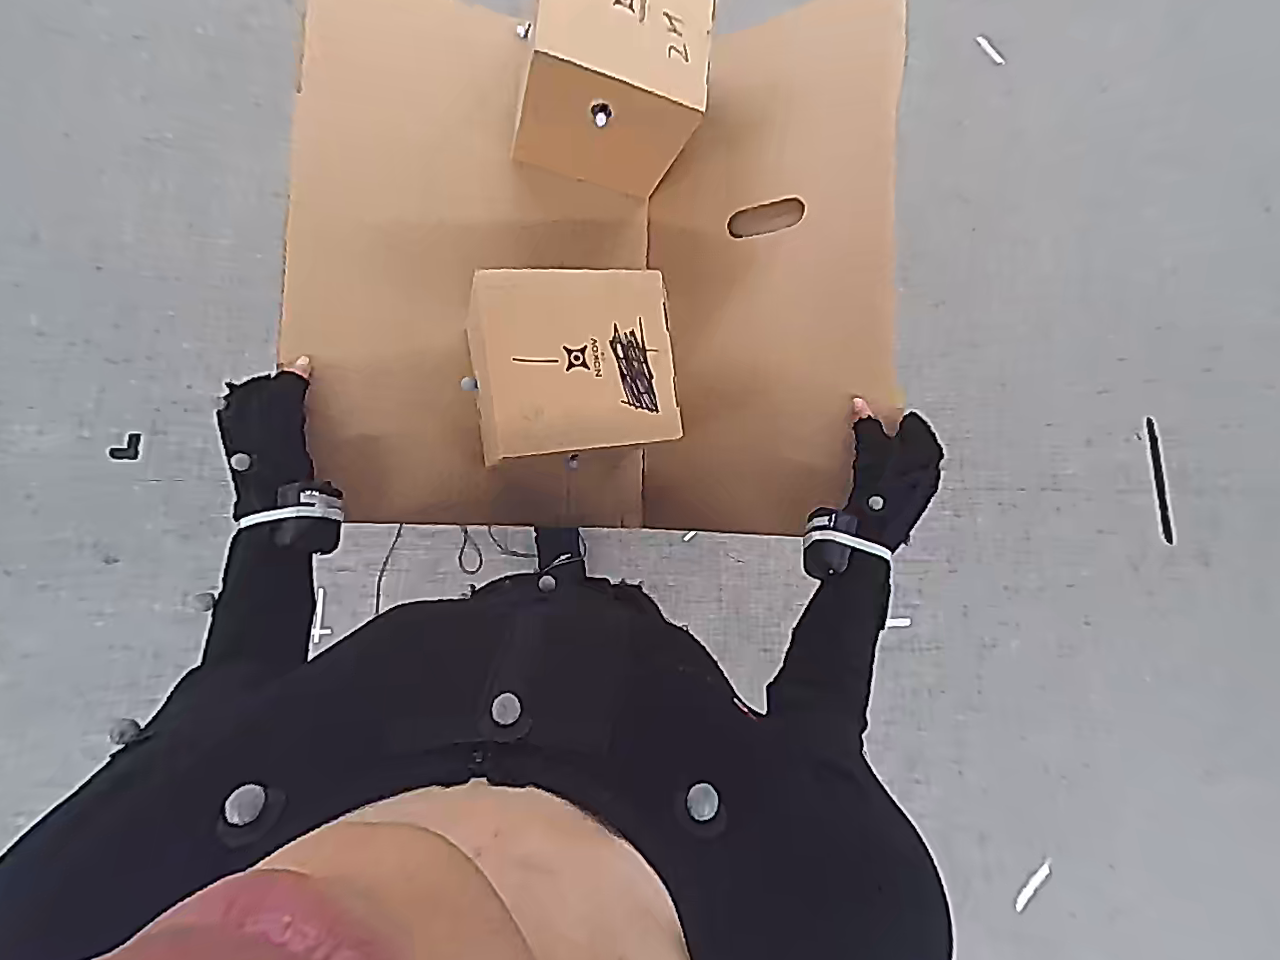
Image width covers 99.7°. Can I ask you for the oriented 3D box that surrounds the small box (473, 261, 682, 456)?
[{"bbox_3d":[-0.075,-0.118,0.578,0.179,0.176,0.168,-8,91,-19],"label":"small box"}]

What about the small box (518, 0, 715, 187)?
[{"bbox_3d":[-0.034,-0.464,0.604,0.179,0.176,0.168,8,86,-20],"label":"small box"}]
